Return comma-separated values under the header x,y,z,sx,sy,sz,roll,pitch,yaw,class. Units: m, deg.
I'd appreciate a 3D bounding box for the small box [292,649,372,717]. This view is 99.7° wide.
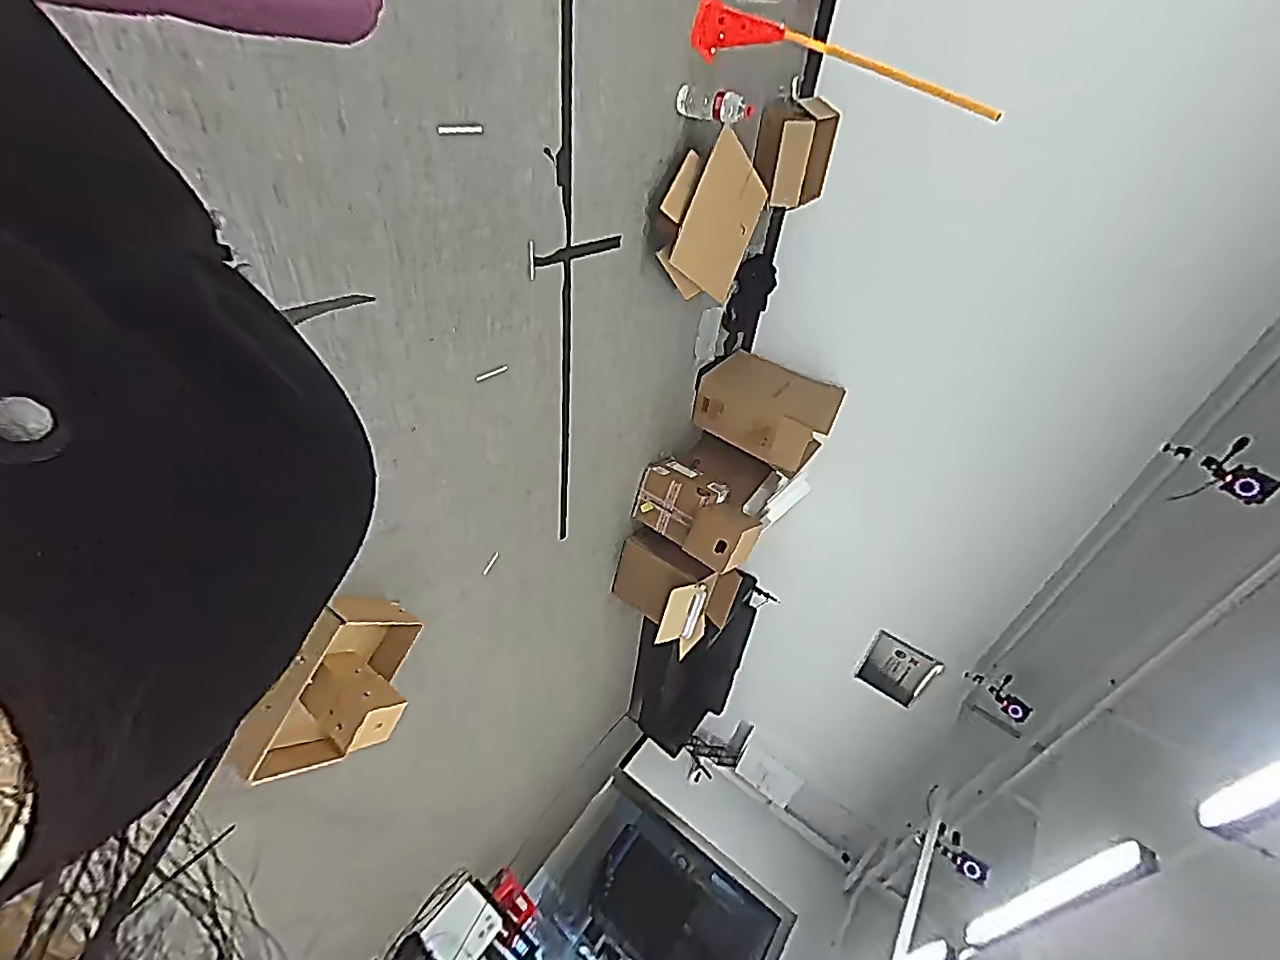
x,y,z,sx,sy,sz,roll,pitch,yaw,class
-1.122,0.738,1.985,0.168,0.176,0.179,-60,155,-2,small box

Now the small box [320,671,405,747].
x,y,z,sx,sy,sz,roll,pitch,yaw,class
-0.989,0.805,1.921,0.168,0.176,0.179,-60,157,2,small box
